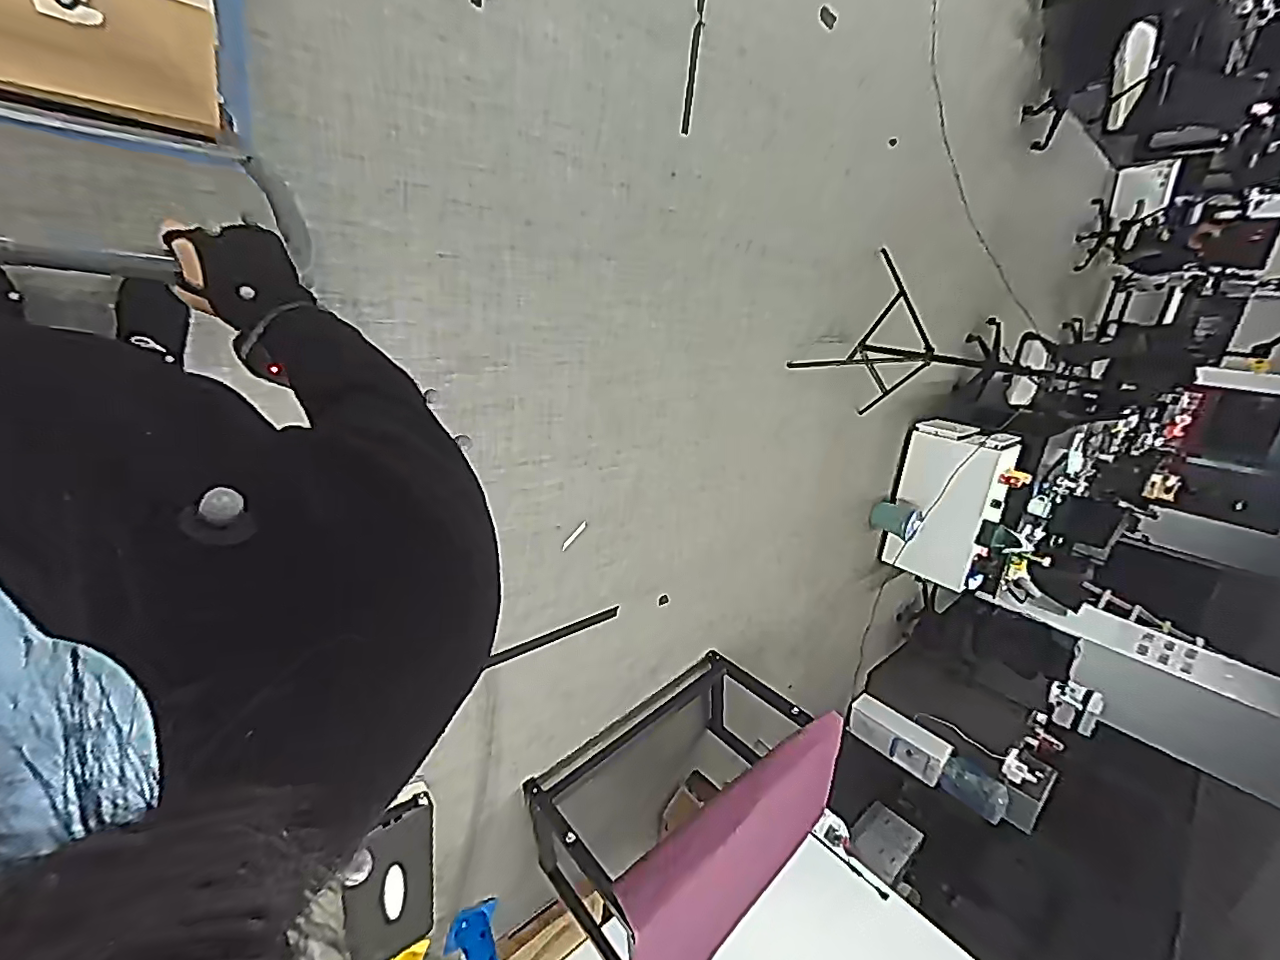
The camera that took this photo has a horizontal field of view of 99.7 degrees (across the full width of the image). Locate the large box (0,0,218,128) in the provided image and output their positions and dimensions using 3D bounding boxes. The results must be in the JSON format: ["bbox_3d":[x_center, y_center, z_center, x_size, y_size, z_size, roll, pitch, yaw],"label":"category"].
[{"bbox_3d":[-0.804,-0.673,0.657,0.408,0.320,0.320,-11,129,-42],"label":"large box"}]
